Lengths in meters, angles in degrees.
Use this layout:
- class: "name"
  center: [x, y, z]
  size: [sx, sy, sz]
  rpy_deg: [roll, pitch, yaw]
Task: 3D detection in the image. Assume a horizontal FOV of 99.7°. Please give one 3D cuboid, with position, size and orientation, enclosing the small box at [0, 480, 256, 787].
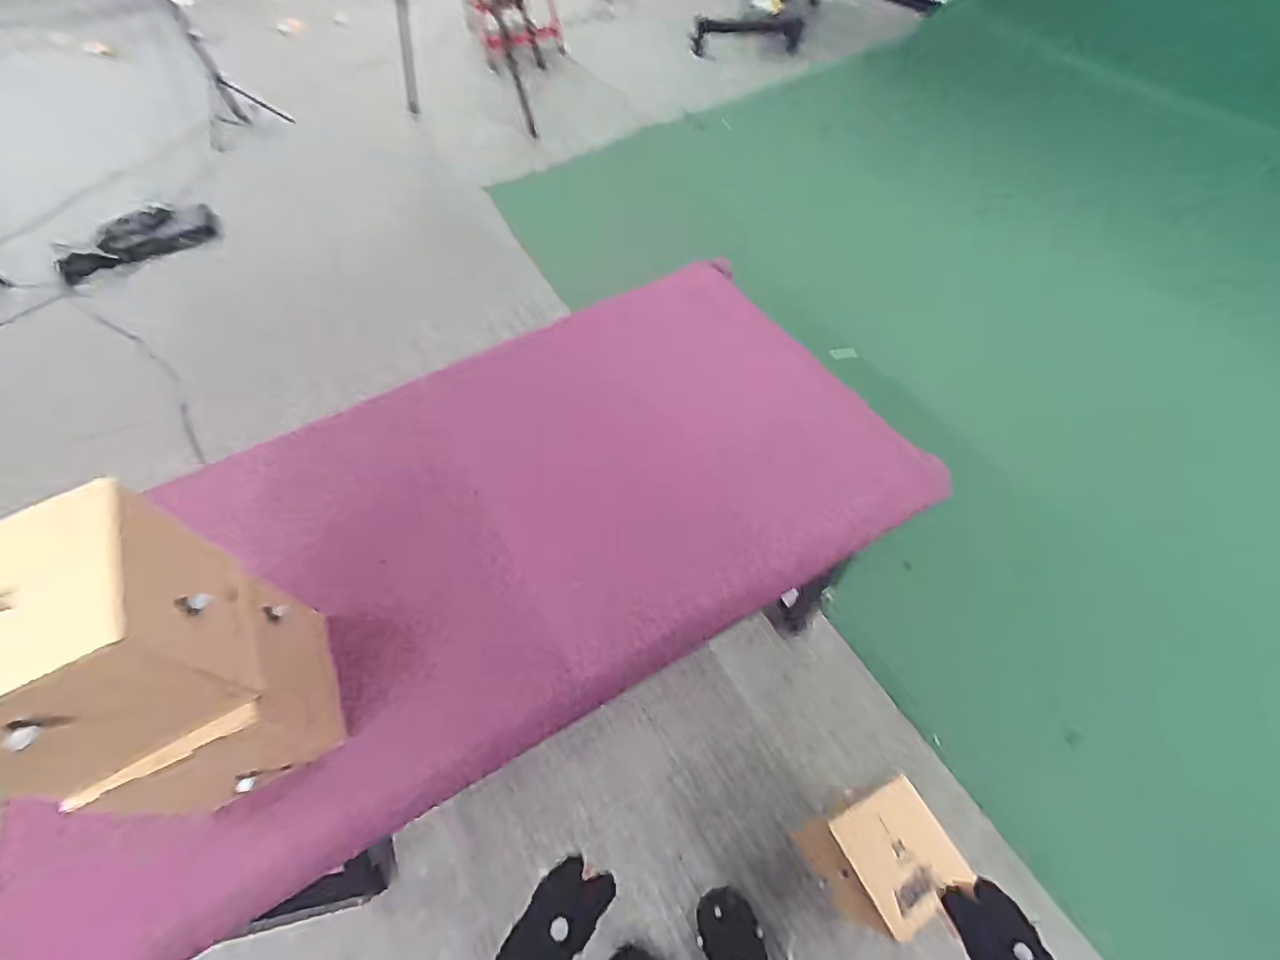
- class: "small box"
  center: [-0.470, 0.136, 0.468]
  size: [0.179, 0.176, 0.168]
  rpy_deg: [-28, 60, -14]

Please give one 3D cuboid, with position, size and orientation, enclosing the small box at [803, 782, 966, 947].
- class: "small box"
  center: [0.415, 0.662, 0.950]
  size: [0.168, 0.176, 0.179]
  rpy_deg: [-24, 58, -12]

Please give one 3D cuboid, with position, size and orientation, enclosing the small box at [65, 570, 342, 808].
- class: "small box"
  center: [-0.461, 0.234, 0.598]
  size: [0.168, 0.176, 0.179]
  rpy_deg: [-24, 60, -12]
